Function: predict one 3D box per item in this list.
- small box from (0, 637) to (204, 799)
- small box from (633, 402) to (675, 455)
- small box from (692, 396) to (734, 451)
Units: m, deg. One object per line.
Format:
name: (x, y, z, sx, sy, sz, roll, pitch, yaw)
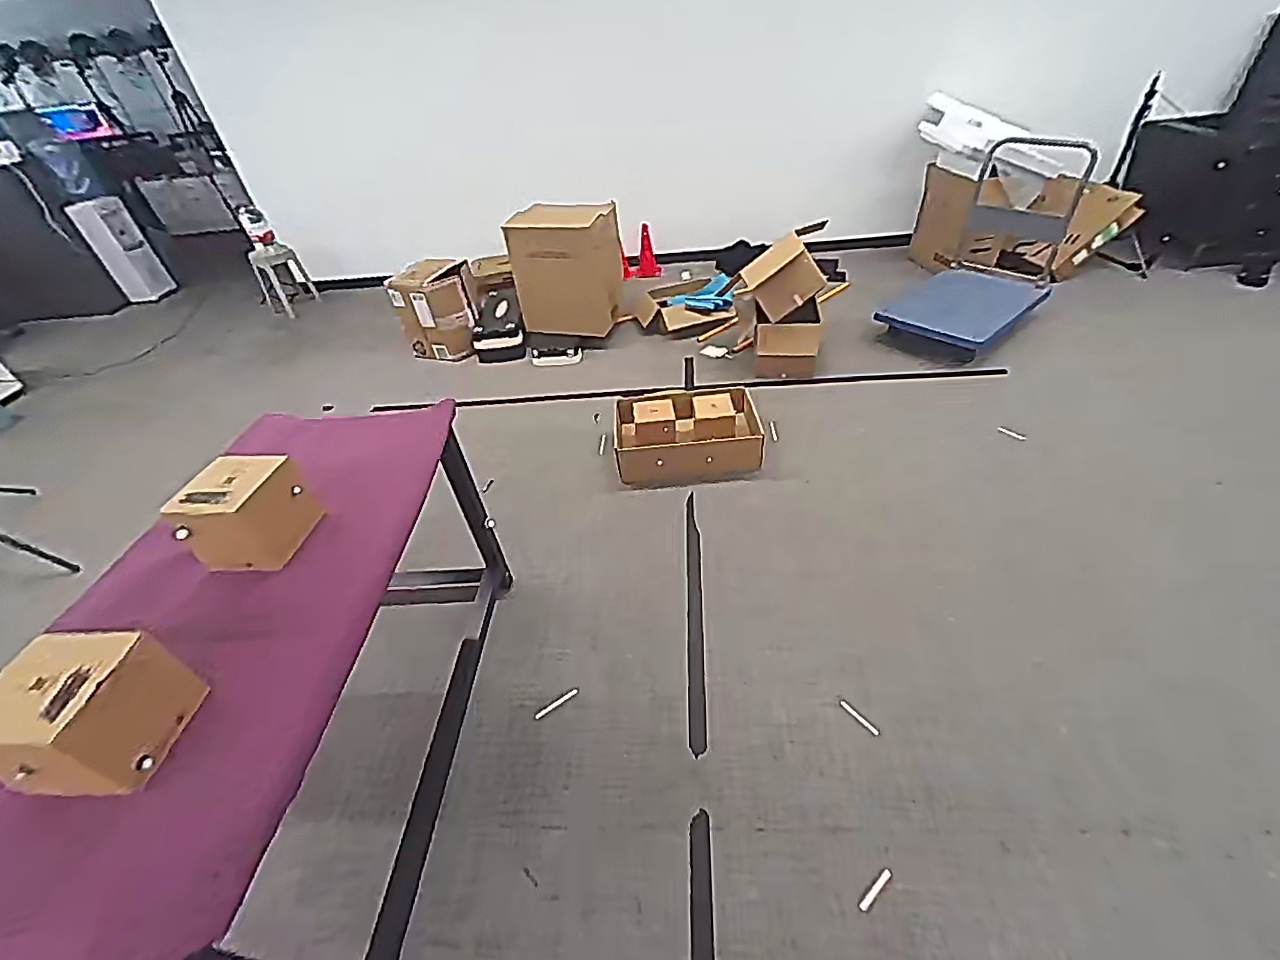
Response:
small box: (-0.810, 0.350, 0.797, 0.179, 0.176, 0.168, -3, 40, 5)
small box: (0.062, -0.227, 2.399, 0.179, 0.176, 0.168, -6, 39, -1)
small box: (0.321, -0.251, 2.394, 0.168, 0.176, 0.179, -6, 40, 2)
